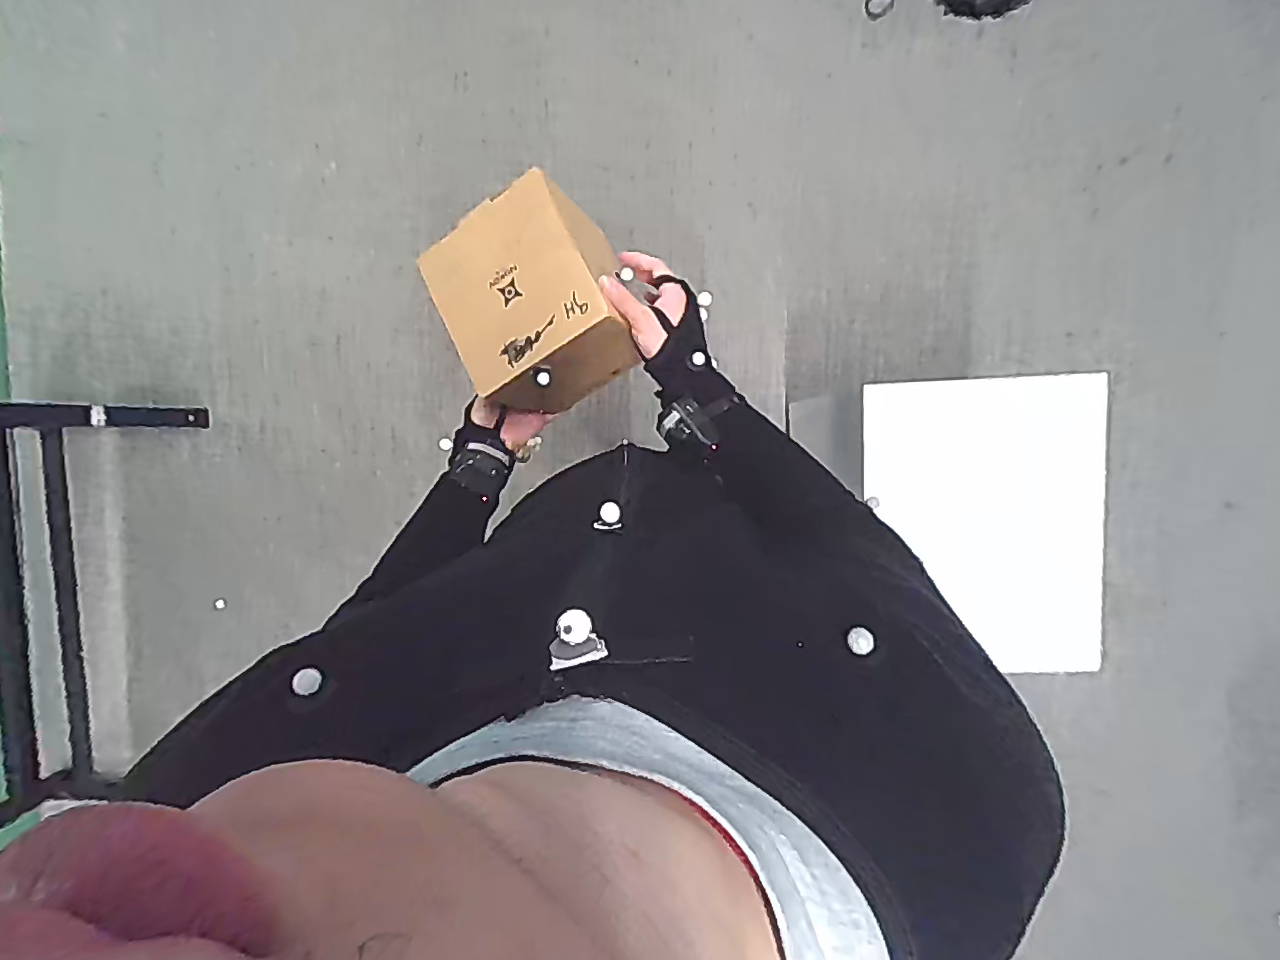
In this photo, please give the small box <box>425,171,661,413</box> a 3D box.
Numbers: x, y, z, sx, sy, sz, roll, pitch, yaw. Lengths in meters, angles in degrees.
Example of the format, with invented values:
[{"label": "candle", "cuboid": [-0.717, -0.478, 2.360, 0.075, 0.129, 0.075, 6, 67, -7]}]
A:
[{"label": "small box", "cuboid": [-0.100, -0.194, 0.618, 0.168, 0.176, 0.179, -29, 81, 18]}]
